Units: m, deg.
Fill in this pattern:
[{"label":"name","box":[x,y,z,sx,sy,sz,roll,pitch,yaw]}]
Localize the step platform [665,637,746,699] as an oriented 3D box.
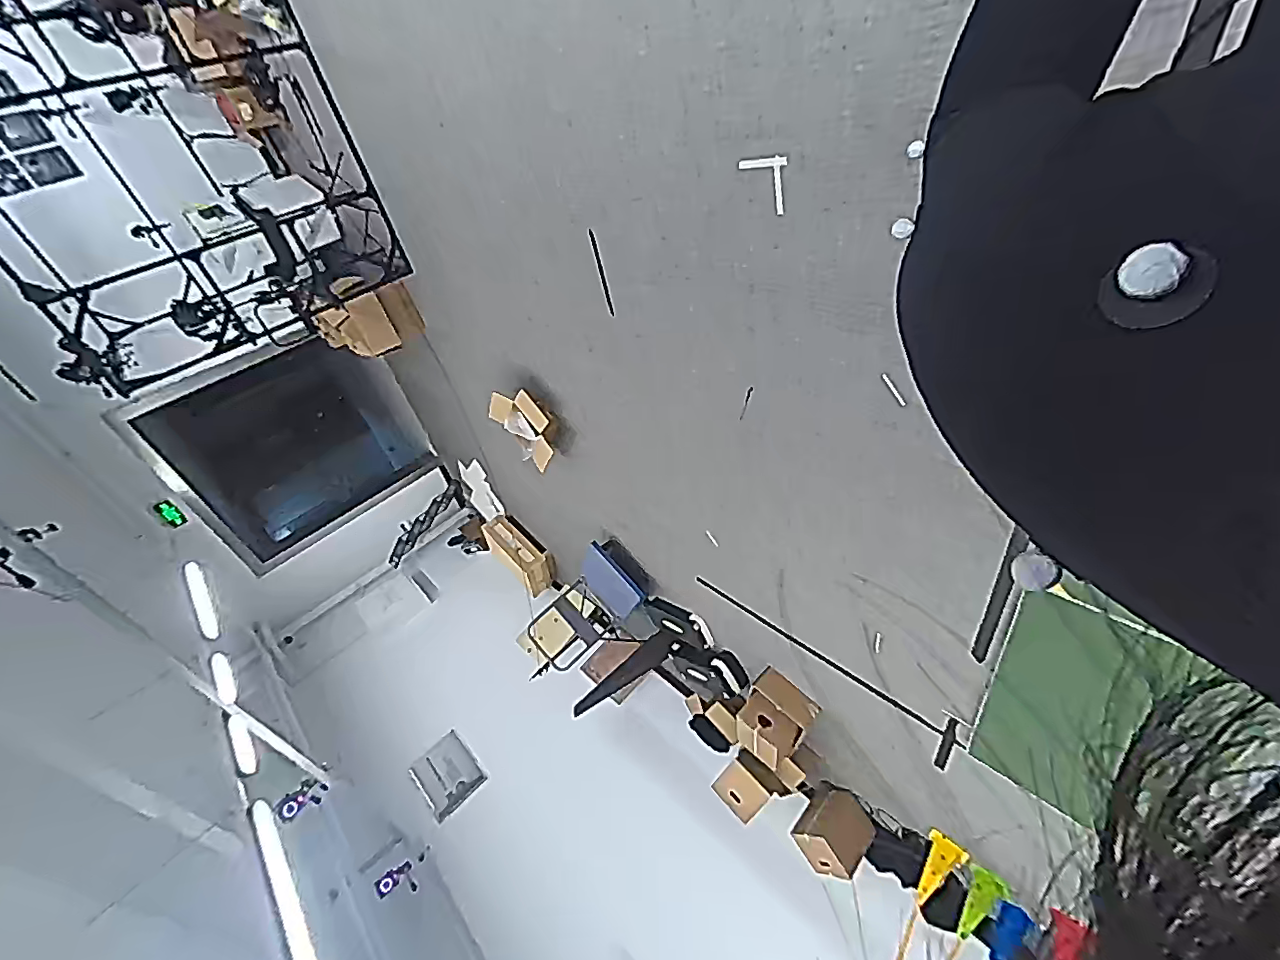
[{"label":"step platform","box":[0.475,1.416,4.089,0.286,0.204,0.684,59,152,-13]}]
